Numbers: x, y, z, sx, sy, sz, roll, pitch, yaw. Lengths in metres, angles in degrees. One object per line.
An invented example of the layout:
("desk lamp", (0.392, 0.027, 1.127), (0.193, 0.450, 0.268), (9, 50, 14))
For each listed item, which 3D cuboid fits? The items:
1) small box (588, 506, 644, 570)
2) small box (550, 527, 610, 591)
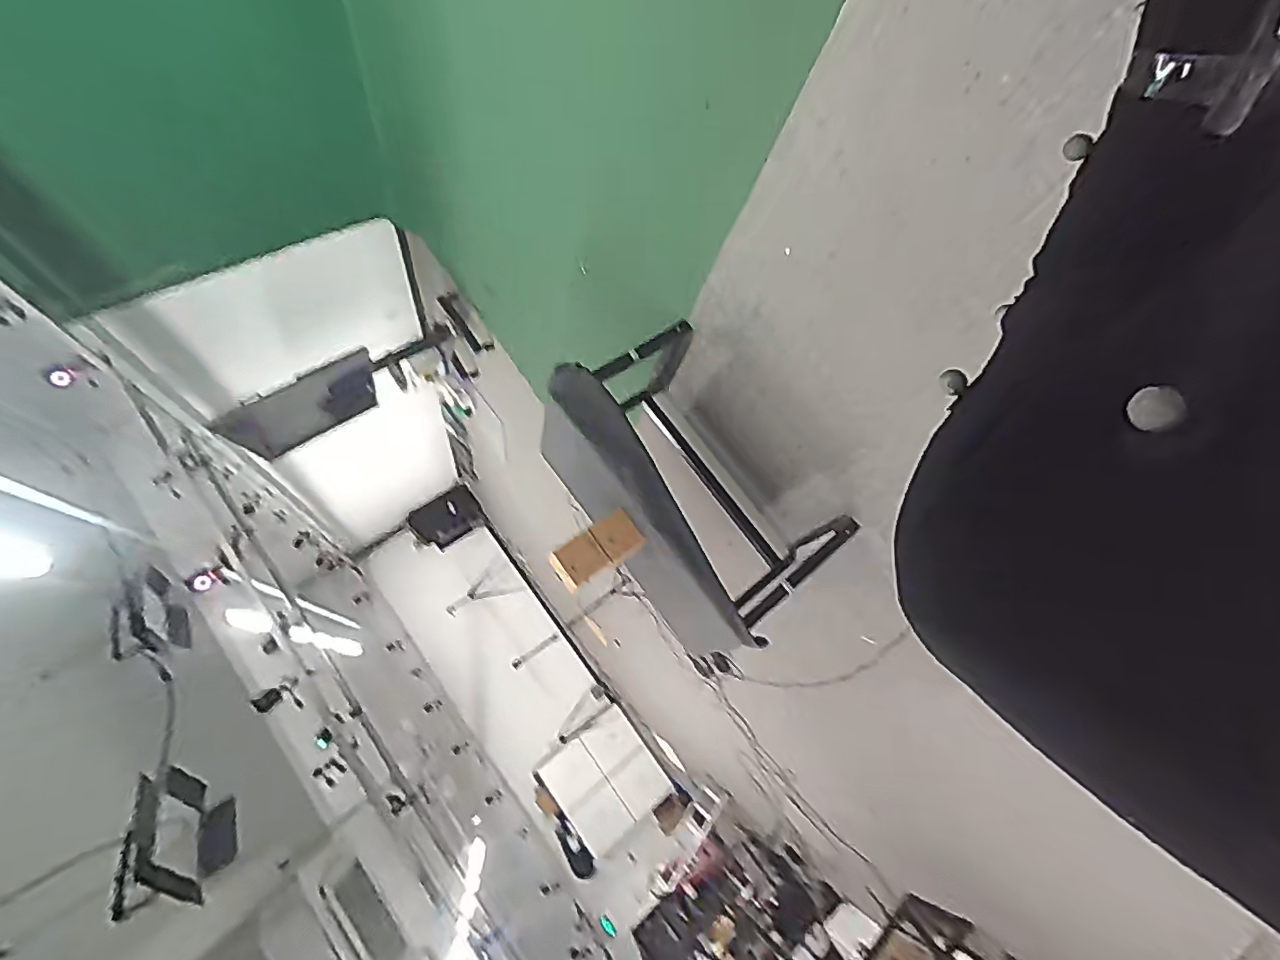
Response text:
("small box", (-0.105, 0.232, 2.183), (0.179, 0.176, 0.168), (54, 158, 9))
("small box", (-0.235, 0.310, 2.127), (0.168, 0.176, 0.179), (54, 157, 11))
